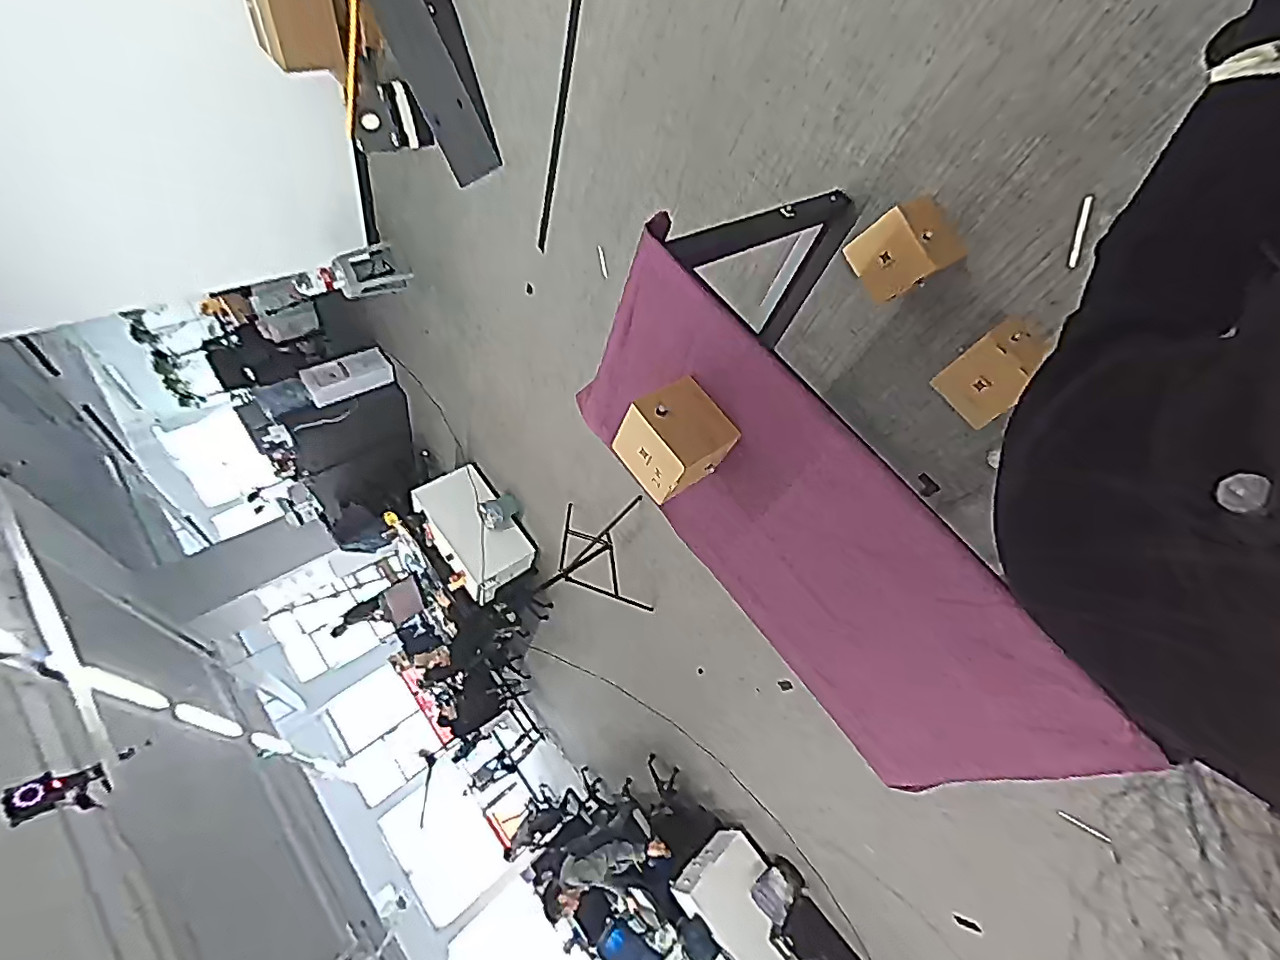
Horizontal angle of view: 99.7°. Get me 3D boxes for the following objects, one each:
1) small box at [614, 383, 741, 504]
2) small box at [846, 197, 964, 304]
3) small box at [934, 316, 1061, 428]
[{"bbox_3d":[0.078,-0.086,1.152,0.179,0.176,0.168,51,149,13],"label":"small box"},{"bbox_3d":[0.654,-0.570,1.334,0.179,0.176,0.168,58,148,-1],"label":"small box"},{"bbox_3d":[0.864,-0.263,1.299,0.168,0.176,0.179,52,149,13],"label":"small box"}]
